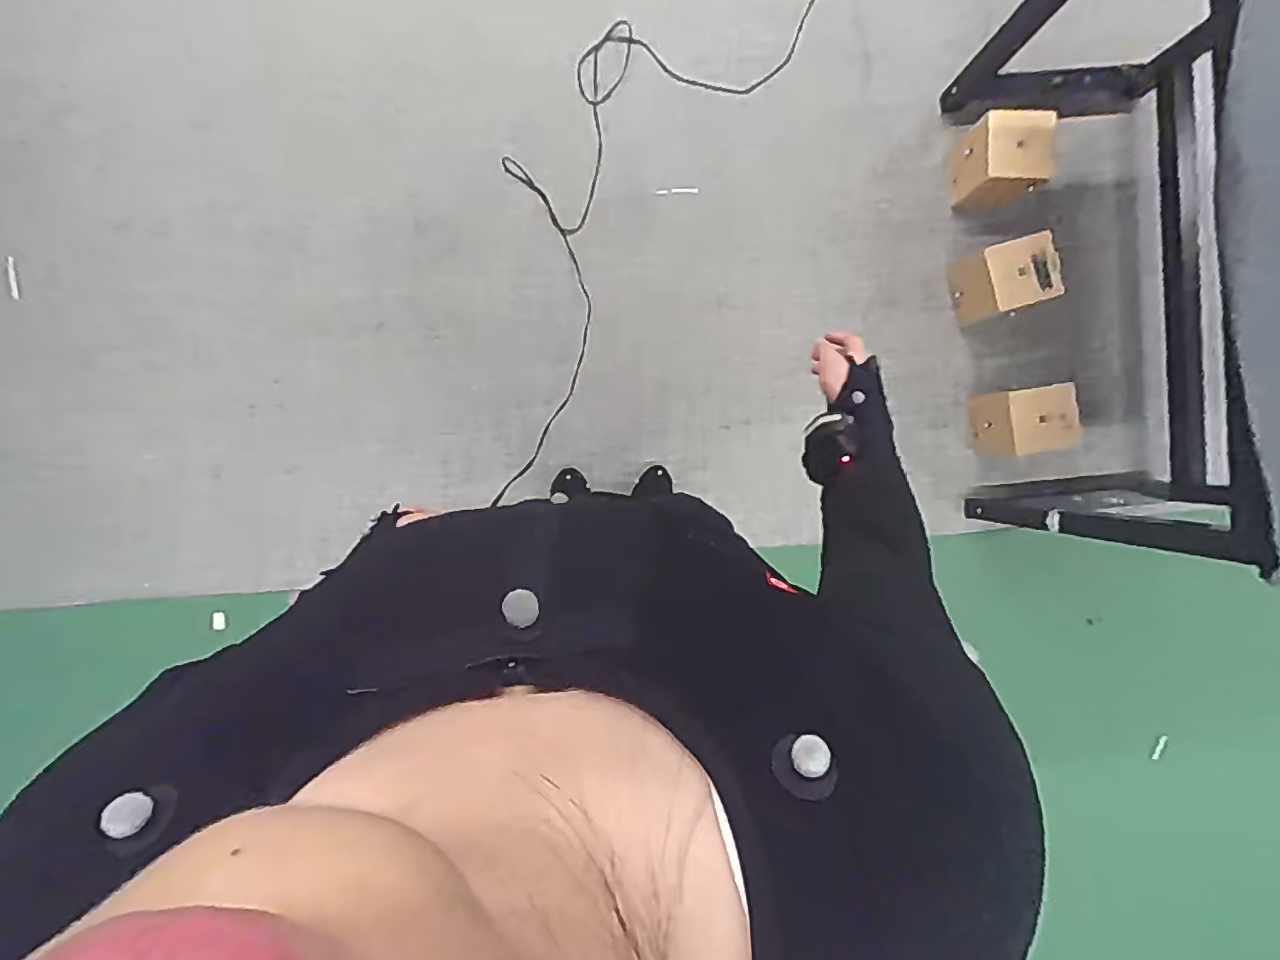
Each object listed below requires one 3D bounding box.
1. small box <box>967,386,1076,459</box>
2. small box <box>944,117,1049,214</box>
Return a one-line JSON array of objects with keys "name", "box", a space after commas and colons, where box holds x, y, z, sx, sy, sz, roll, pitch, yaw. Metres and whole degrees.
[{"name": "small box", "box": [1.009, -0.148, 1.449, 0.179, 0.176, 0.168, -10, 93, -2]}, {"name": "small box", "box": [0.933, -0.823, 1.427, 0.179, 0.176, 0.168, -1, 92, -3]}]
